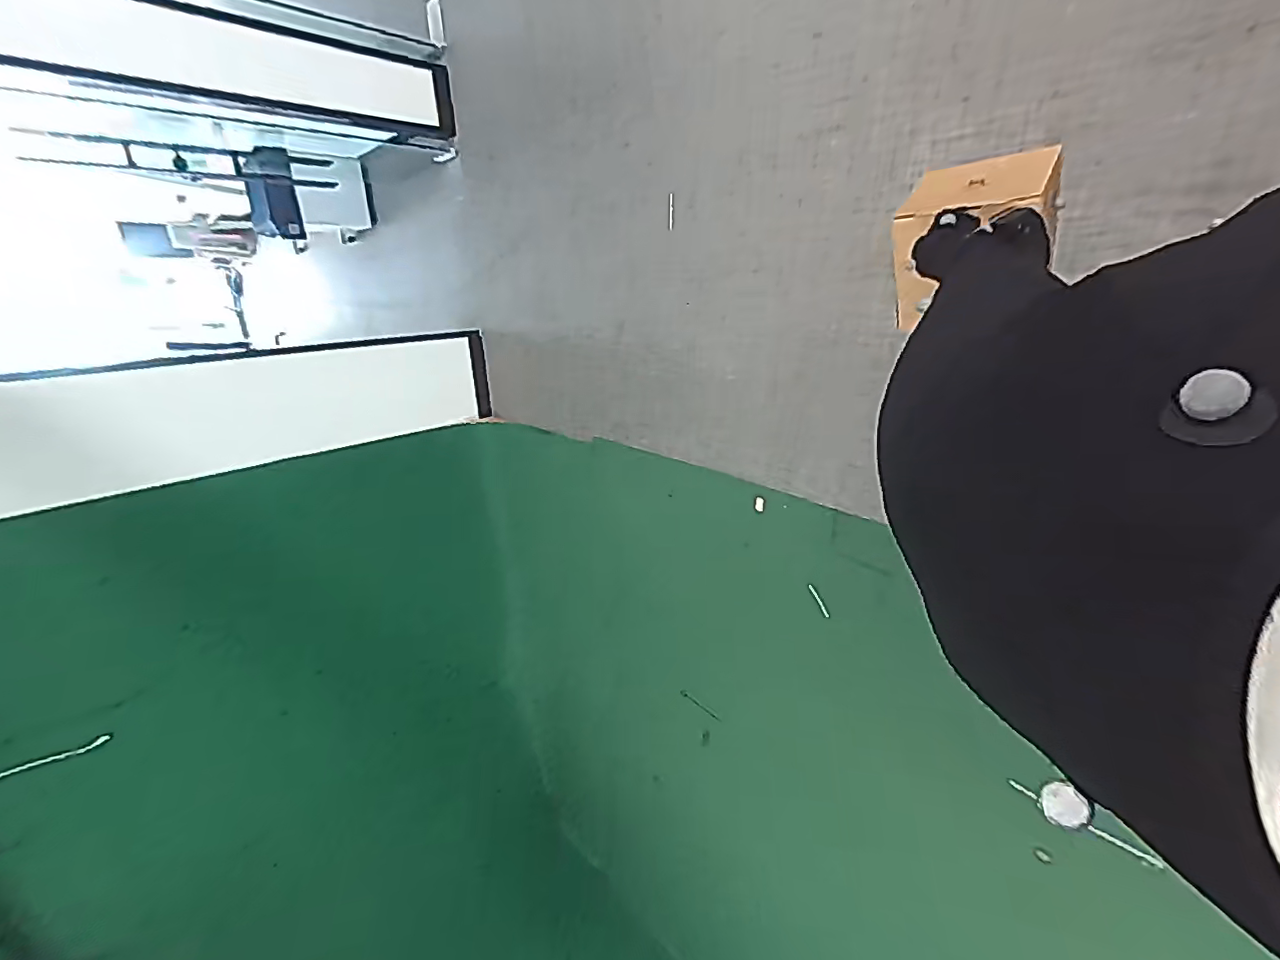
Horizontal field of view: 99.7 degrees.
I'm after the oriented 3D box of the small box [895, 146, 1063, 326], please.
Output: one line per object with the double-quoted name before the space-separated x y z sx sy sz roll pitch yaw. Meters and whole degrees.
"small box" 0.478 -0.336 0.766 0.168 0.179 0.176 9 137 40
